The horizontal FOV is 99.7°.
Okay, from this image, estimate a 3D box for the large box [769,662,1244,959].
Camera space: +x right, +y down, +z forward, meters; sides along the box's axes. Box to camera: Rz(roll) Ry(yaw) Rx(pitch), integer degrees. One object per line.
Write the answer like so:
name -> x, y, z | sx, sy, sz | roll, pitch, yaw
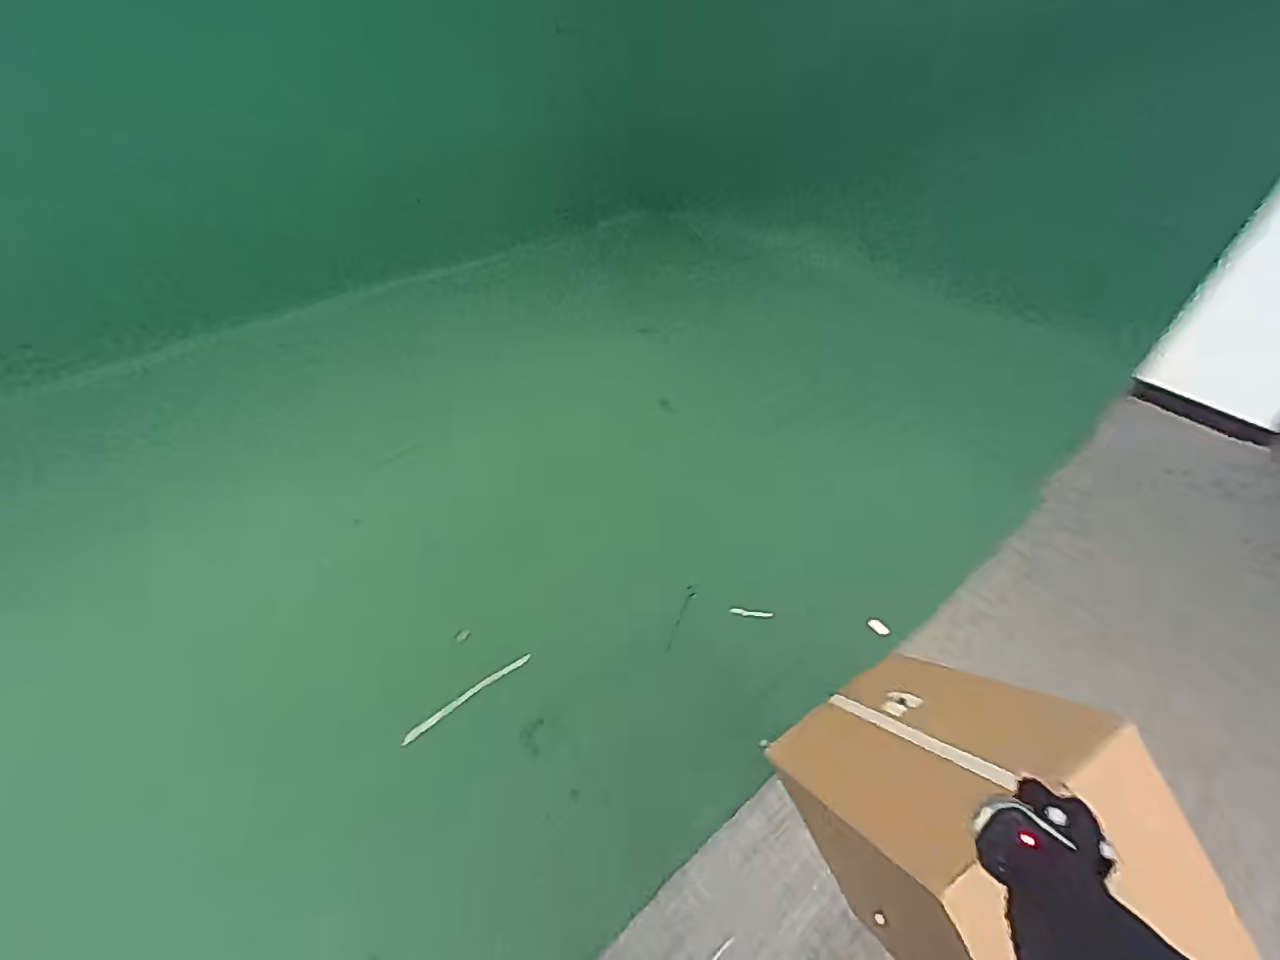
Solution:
large box -> 0.467, 0.511, 0.779 | 0.320, 0.408, 0.320 | -28, 88, -15
